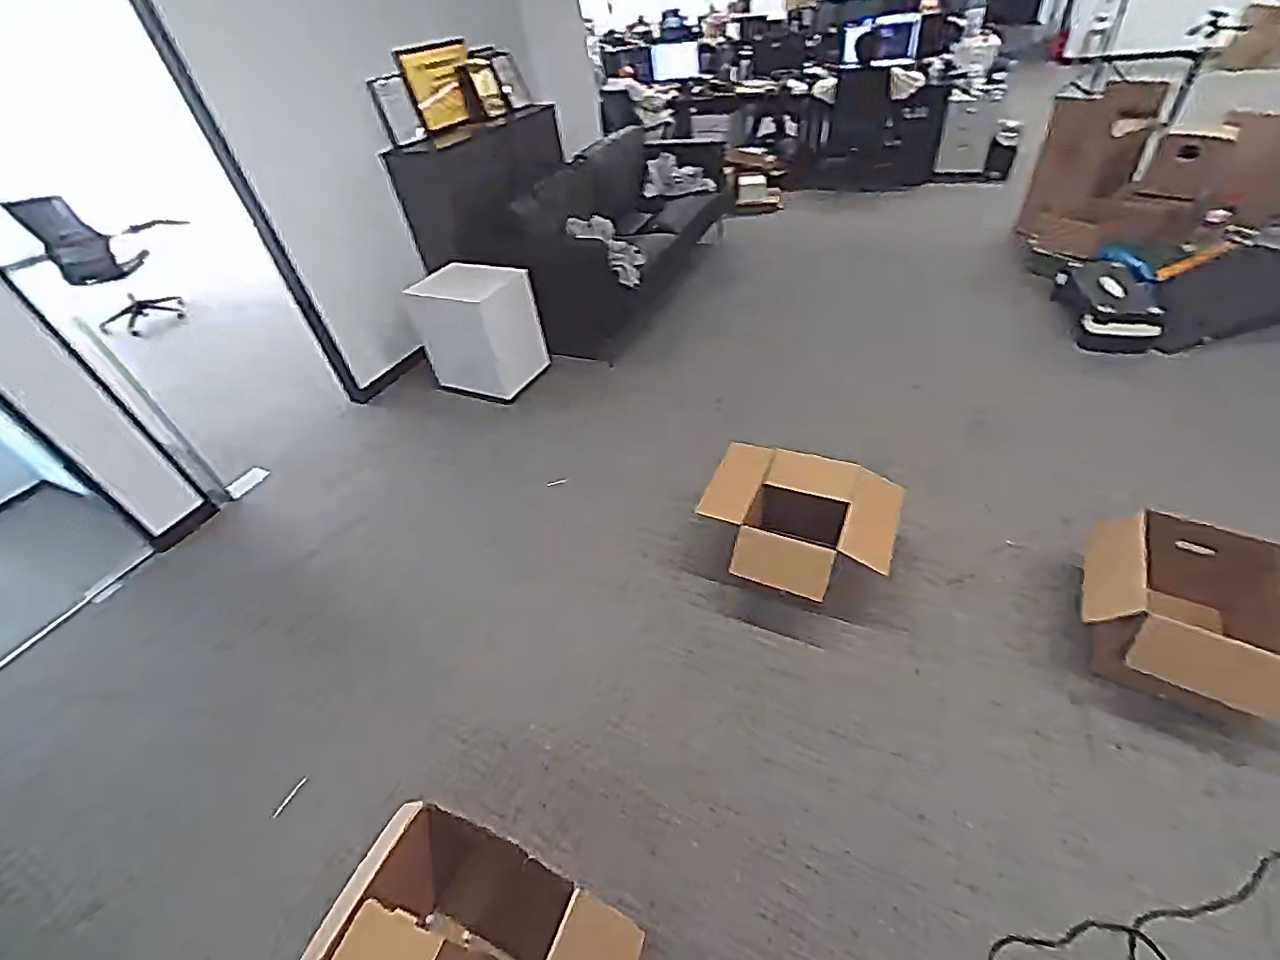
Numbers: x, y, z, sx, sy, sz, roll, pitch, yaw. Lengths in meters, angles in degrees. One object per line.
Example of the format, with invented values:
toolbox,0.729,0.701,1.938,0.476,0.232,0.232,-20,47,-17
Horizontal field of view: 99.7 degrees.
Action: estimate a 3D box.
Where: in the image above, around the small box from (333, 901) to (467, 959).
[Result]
small box,-0.410,0.847,0.897,0.168,0.176,0.179,7,44,17
